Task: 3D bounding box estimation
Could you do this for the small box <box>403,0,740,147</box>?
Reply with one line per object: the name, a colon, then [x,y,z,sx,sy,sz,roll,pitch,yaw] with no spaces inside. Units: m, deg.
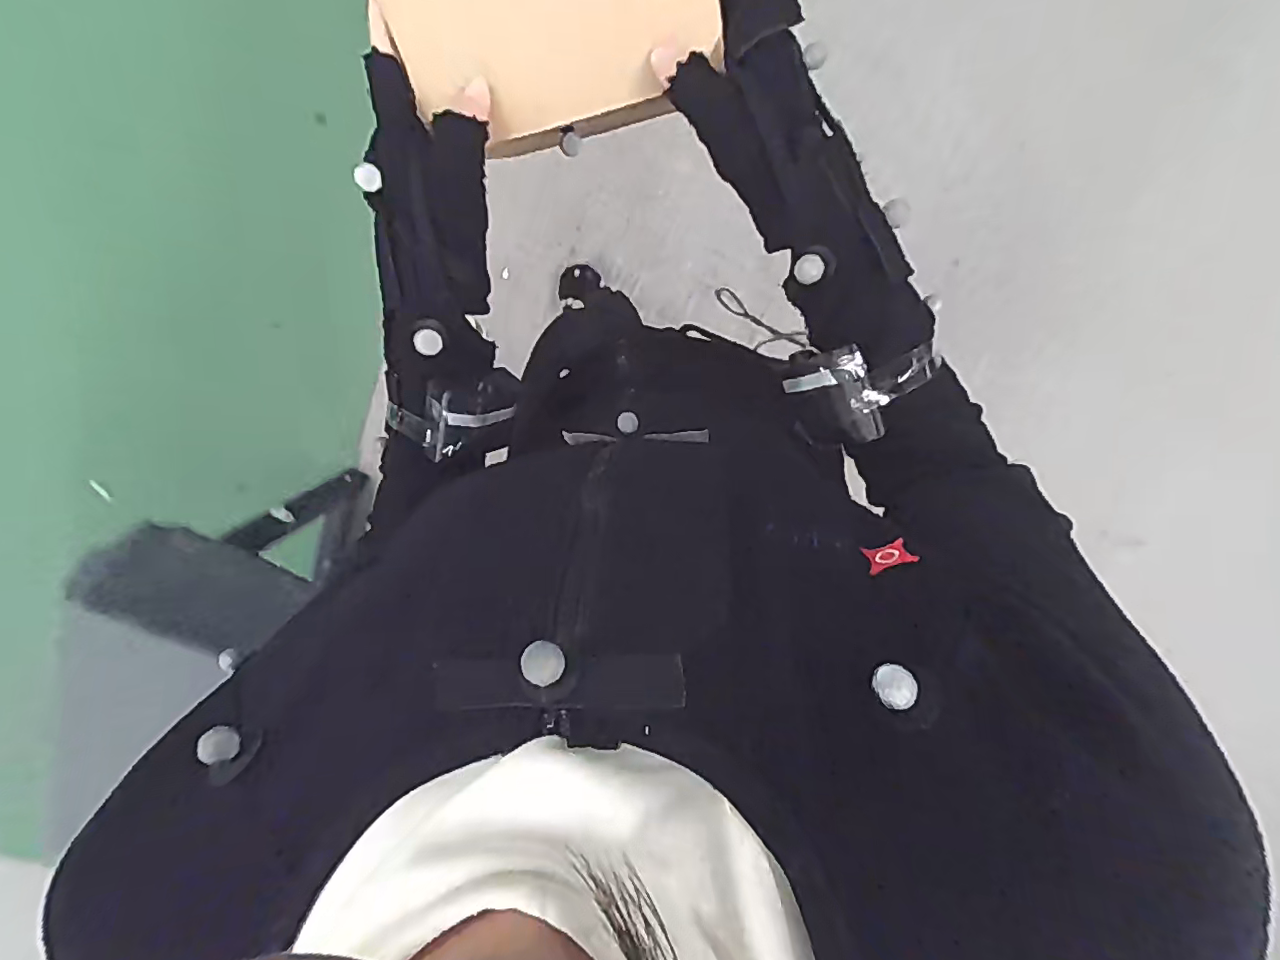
small box: [-0.042,-0.325,0.338,0.179,0.176,0.168,-12,118,10]
